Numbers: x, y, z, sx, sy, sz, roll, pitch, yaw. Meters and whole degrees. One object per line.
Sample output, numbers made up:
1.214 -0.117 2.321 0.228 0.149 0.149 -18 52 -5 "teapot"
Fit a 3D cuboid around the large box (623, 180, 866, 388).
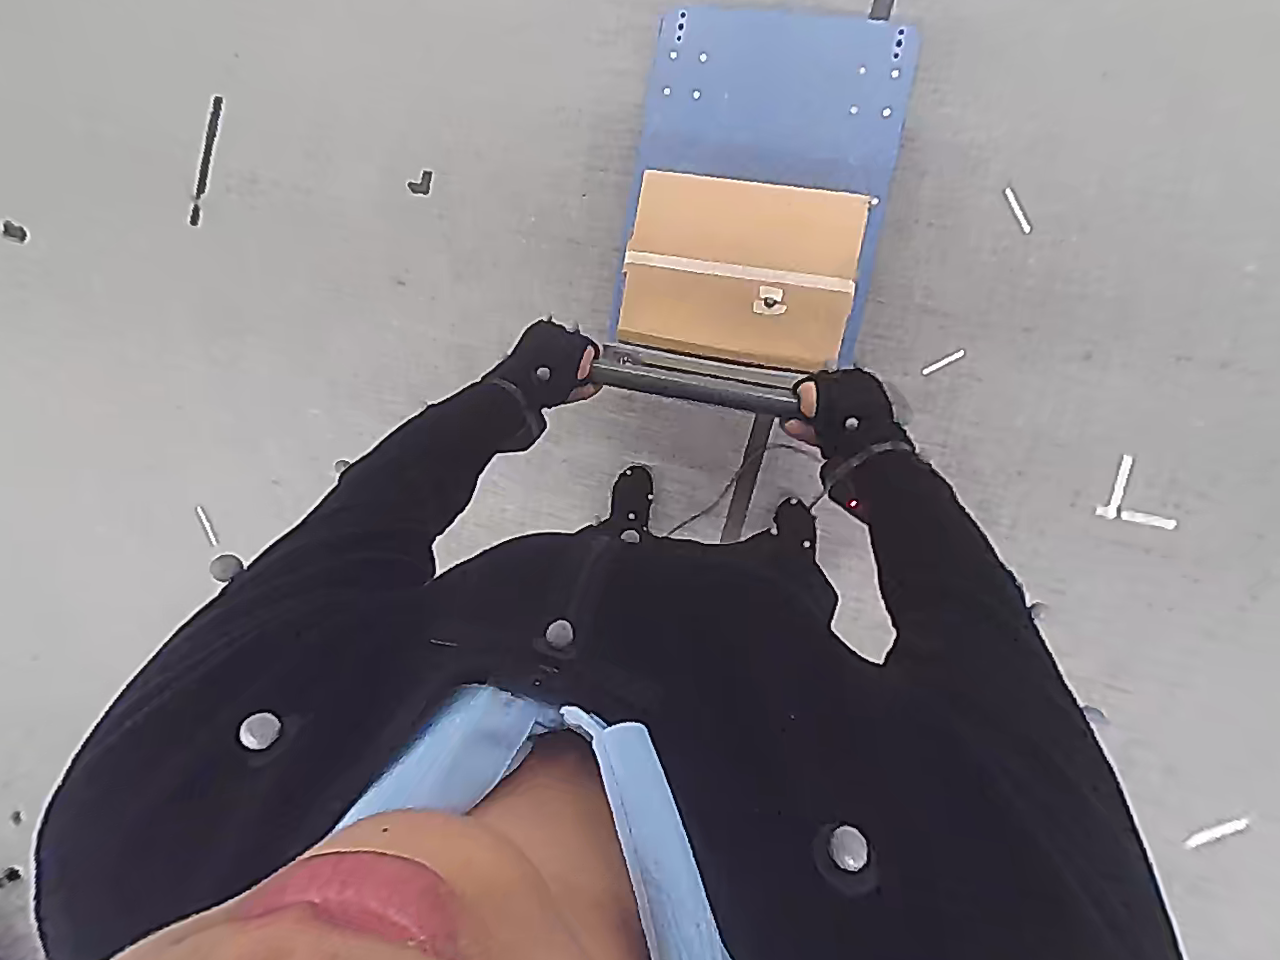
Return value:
0.201 -0.386 1.136 0.408 0.320 0.320 10 97 7 "large box"
